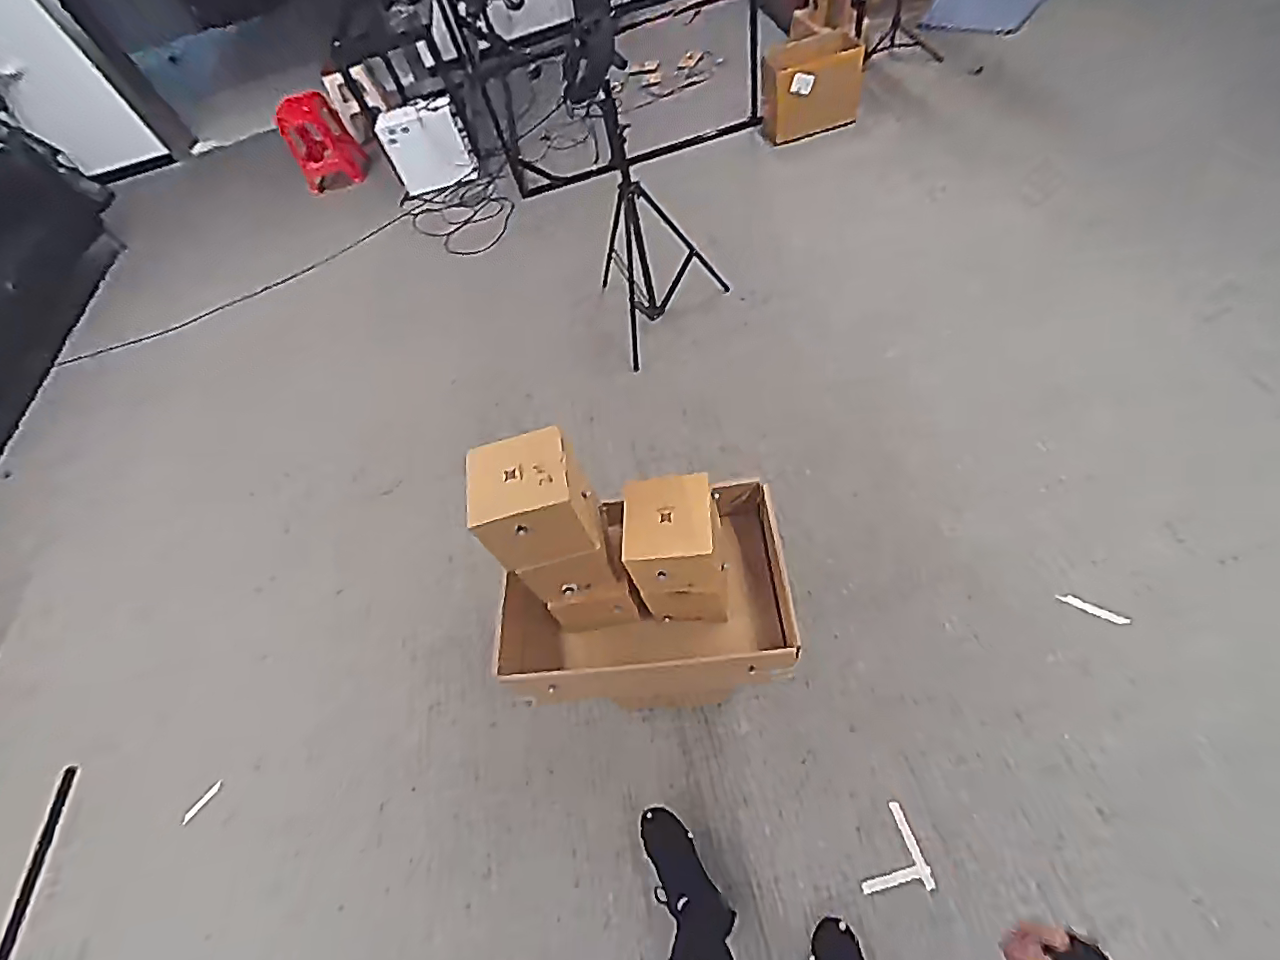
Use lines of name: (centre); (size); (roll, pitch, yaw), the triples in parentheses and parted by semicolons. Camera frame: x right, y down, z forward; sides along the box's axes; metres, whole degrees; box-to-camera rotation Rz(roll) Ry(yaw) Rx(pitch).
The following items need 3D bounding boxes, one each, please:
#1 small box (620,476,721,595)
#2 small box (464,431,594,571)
small box: (0.064, 0.117, 1.059); (0.168, 0.176, 0.179); (-7, 55, 11)
small box: (-0.195, 0.044, 0.967); (0.179, 0.176, 0.168); (-15, 55, 2)
